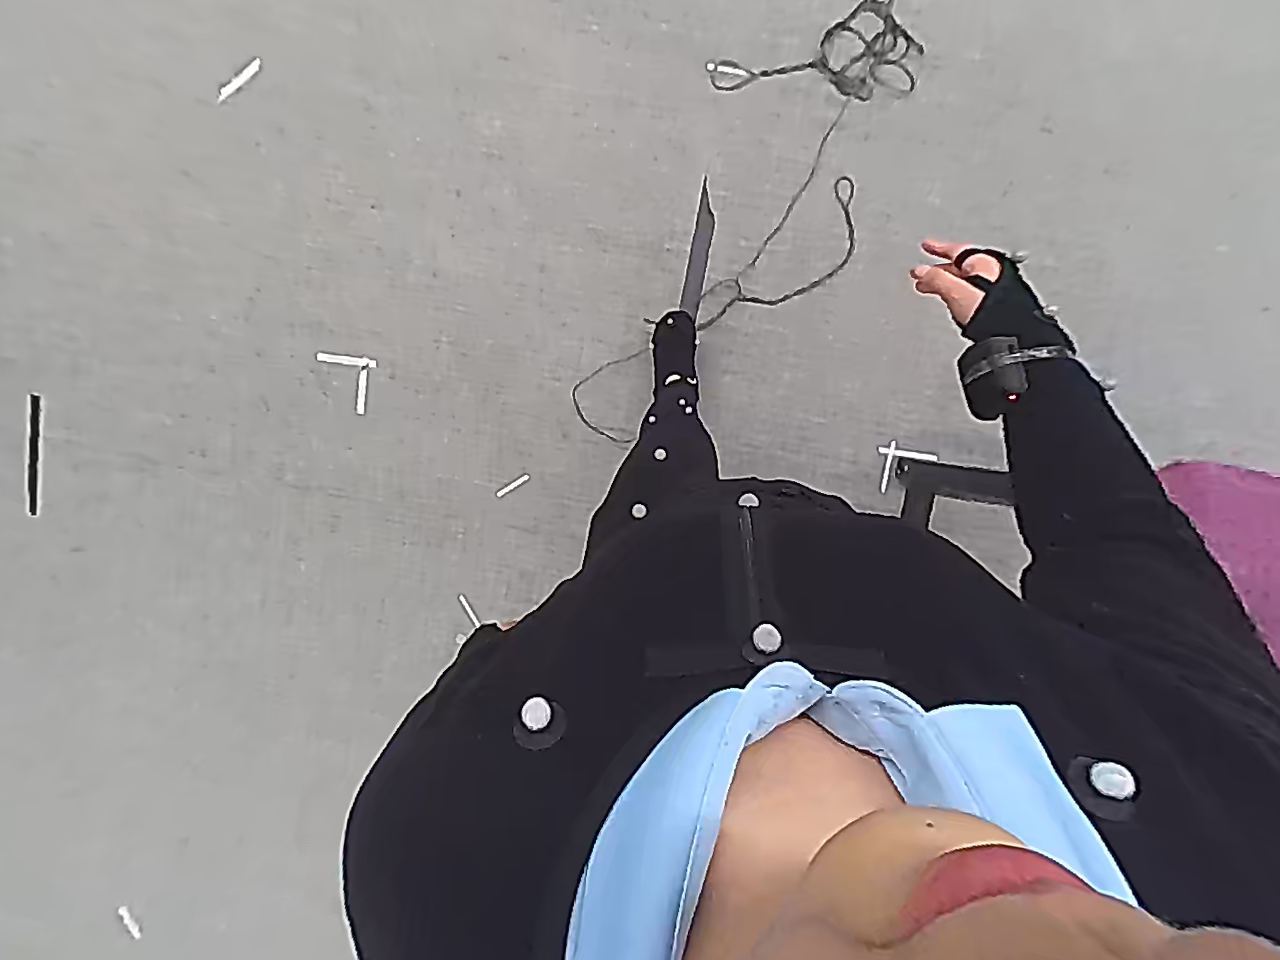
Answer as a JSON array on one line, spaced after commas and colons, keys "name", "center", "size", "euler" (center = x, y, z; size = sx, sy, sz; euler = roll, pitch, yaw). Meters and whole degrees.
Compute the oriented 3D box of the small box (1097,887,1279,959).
[{"name": "small box", "center": [0.732, 0.679, 0.687], "size": [0.168, 0.176, 0.179], "euler": [11, 96, 3]}]
